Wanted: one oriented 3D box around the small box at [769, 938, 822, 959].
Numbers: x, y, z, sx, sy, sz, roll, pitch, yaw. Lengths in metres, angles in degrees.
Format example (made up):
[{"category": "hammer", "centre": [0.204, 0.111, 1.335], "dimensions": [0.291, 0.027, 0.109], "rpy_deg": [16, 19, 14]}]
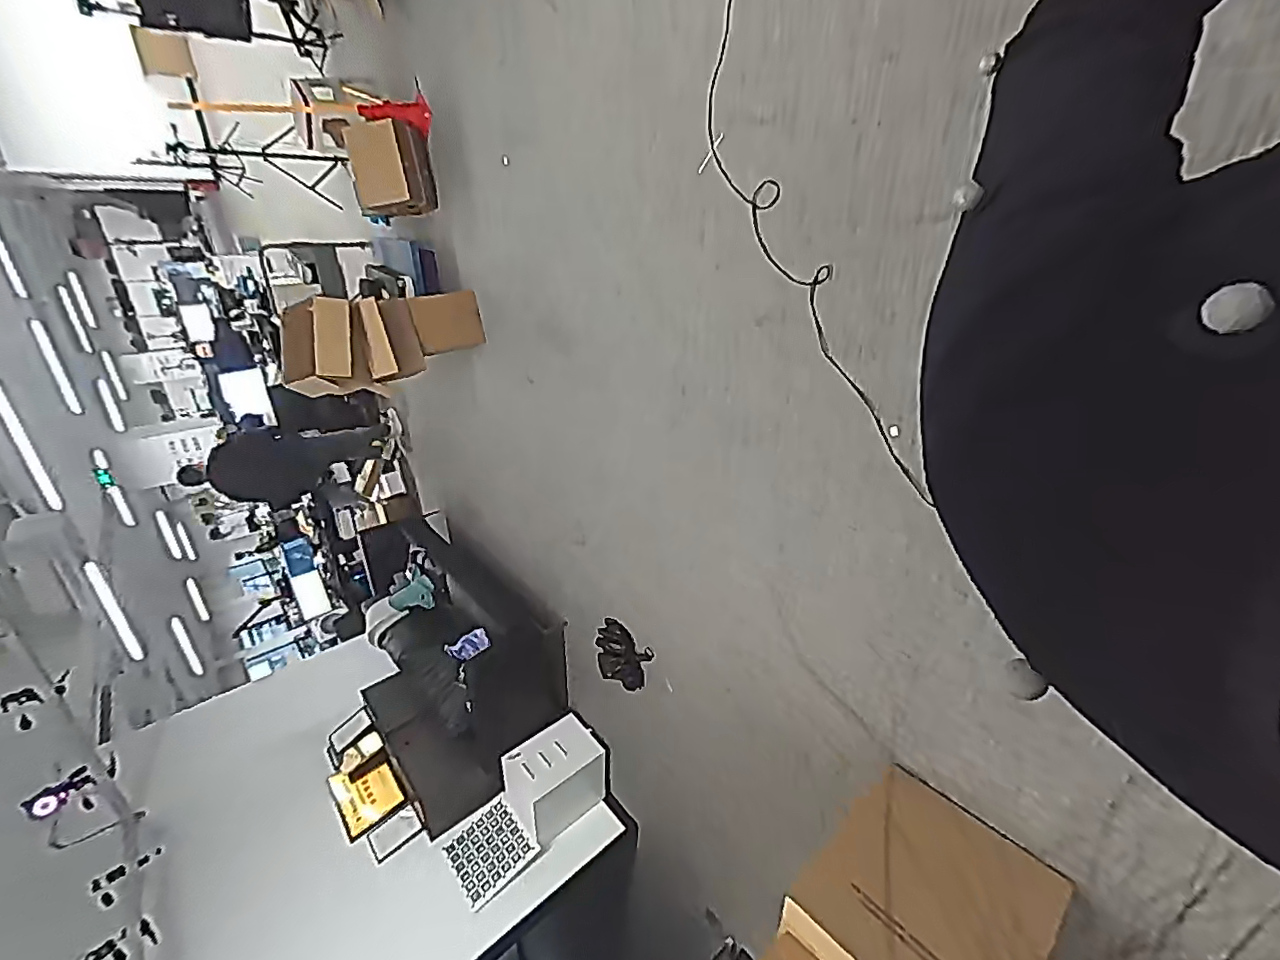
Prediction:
[{"category": "small box", "centre": [0.424, 1.374, 1.428], "dimensions": [0.179, 0.176, 0.168], "rpy_deg": [15, 115, 47]}]
